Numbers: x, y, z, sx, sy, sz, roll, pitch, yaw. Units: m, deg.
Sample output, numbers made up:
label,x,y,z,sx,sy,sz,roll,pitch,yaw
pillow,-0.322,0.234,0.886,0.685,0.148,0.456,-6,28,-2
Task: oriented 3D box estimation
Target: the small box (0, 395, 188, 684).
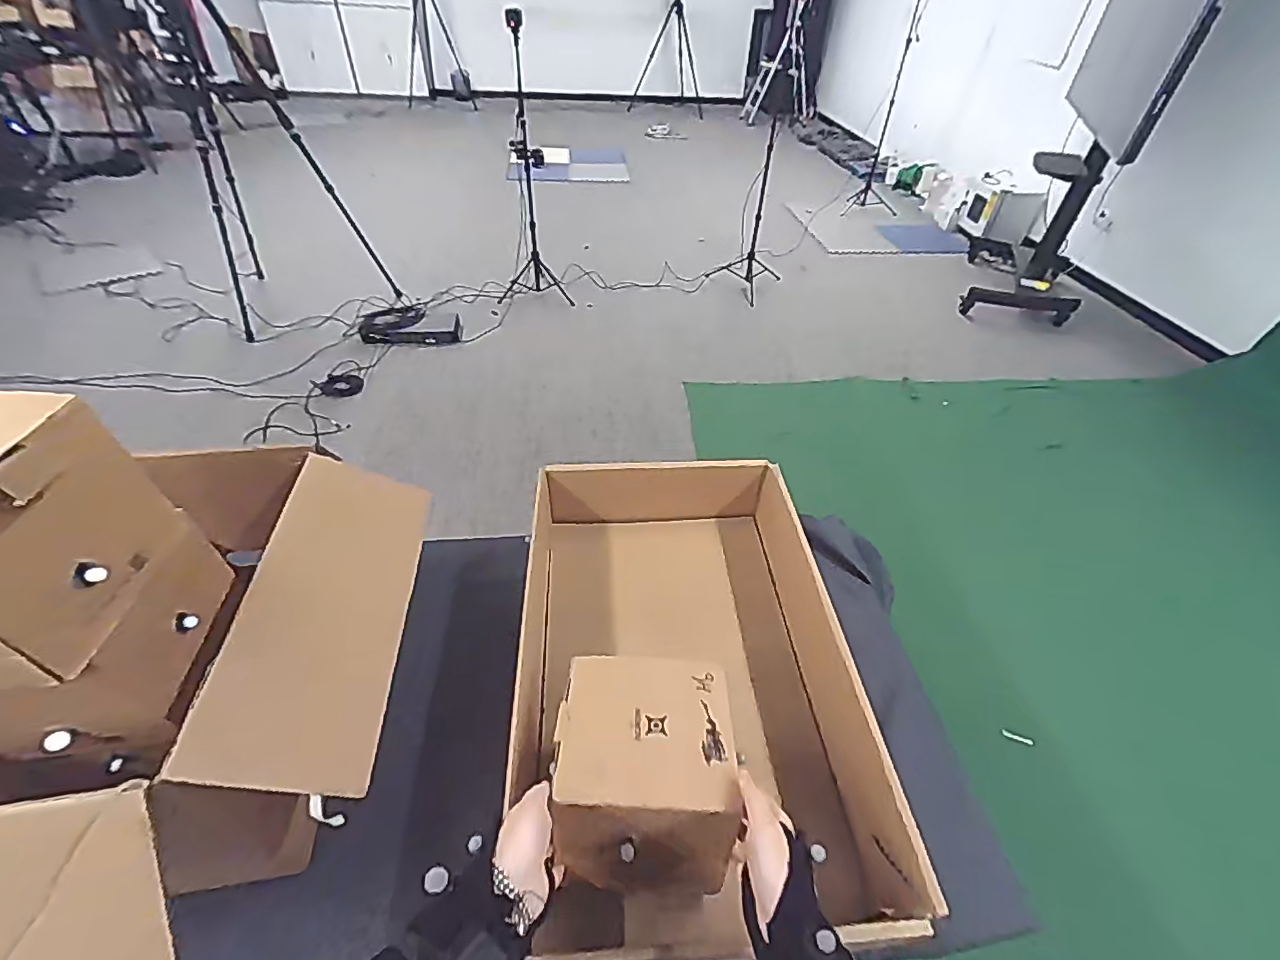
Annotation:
label,x,y,z,sx,sy,sz,roll,pitch,yaw
small box,-0.530,0.048,0.429,0.179,0.176,0.168,2,44,-3
